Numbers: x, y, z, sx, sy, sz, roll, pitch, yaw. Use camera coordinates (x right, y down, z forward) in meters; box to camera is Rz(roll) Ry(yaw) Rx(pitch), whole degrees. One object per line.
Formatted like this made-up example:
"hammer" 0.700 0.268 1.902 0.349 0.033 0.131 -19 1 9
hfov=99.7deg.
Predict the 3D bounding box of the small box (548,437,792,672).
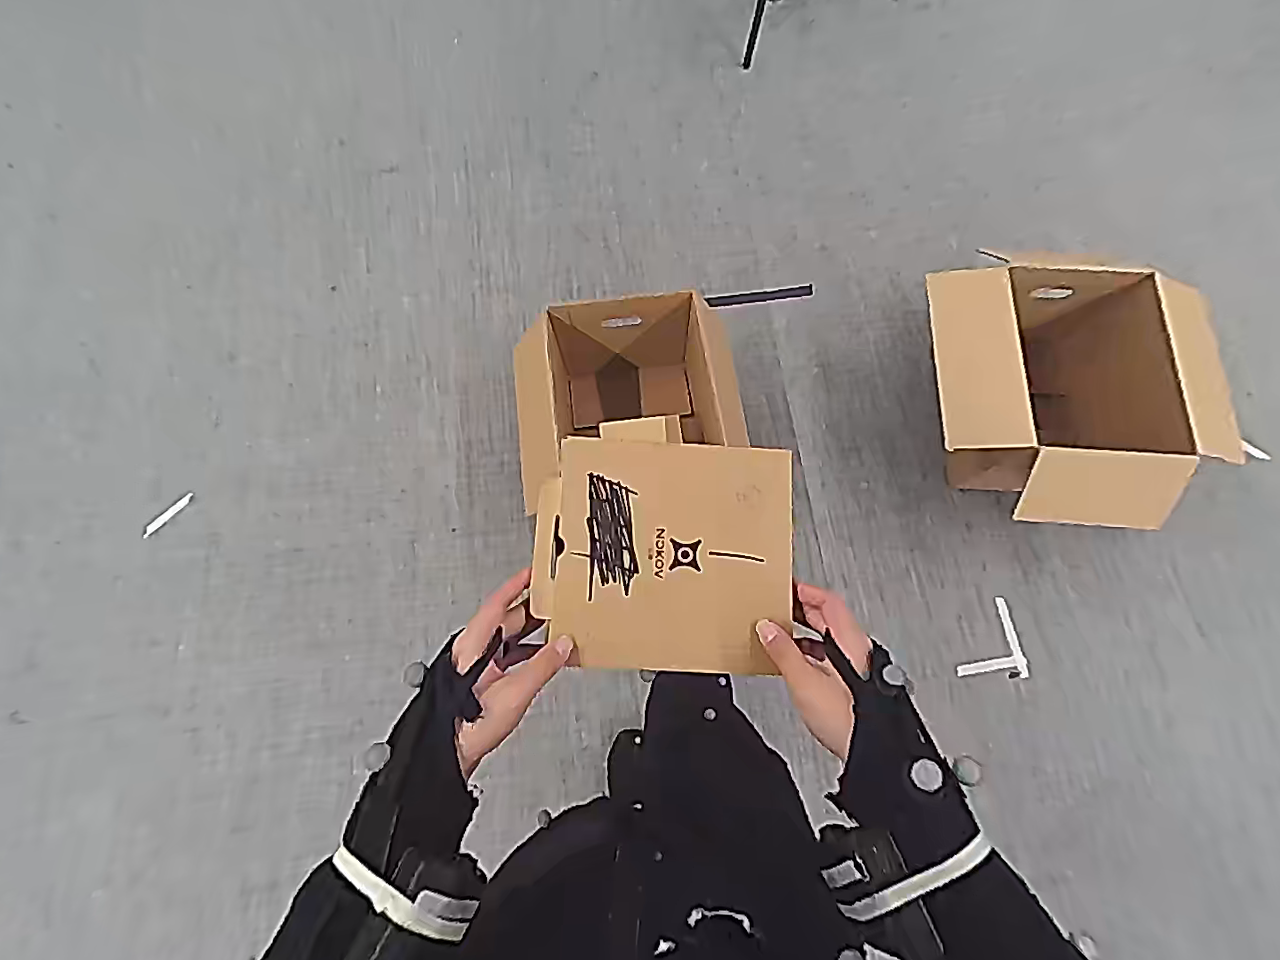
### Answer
"small box" 0.023 0.068 0.476 0.179 0.176 0.168 3 79 -2
